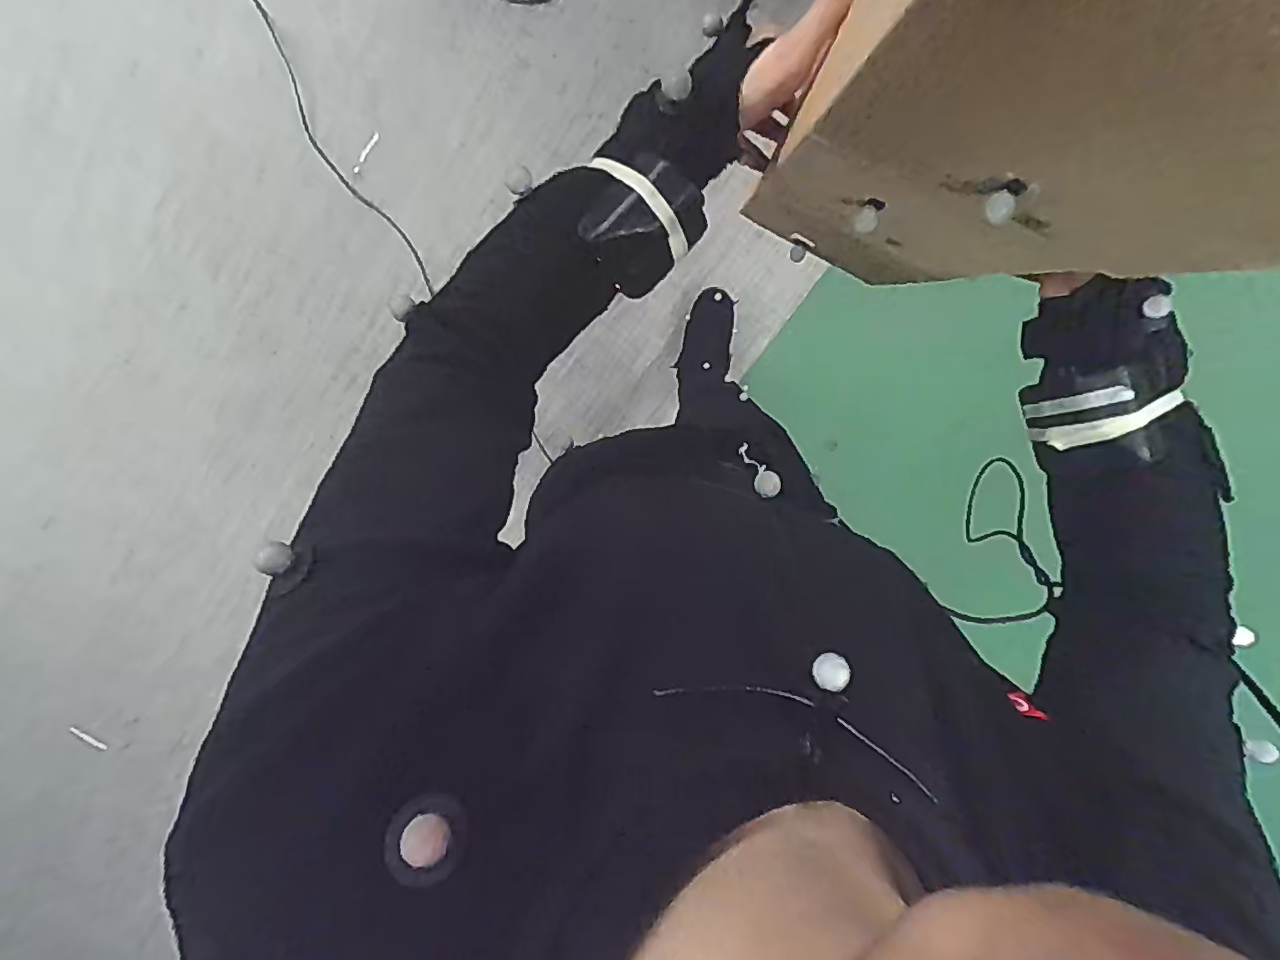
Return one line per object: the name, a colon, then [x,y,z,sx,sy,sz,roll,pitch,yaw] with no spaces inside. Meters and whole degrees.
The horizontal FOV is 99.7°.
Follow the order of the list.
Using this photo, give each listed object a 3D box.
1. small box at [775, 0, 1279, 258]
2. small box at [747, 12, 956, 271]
small box: [0.191,-0.242,0.303,0.168,0.176,0.179,22,108,-4]
small box: [0.205,-0.296,0.456,0.168,0.176,0.179,24,109,-5]
